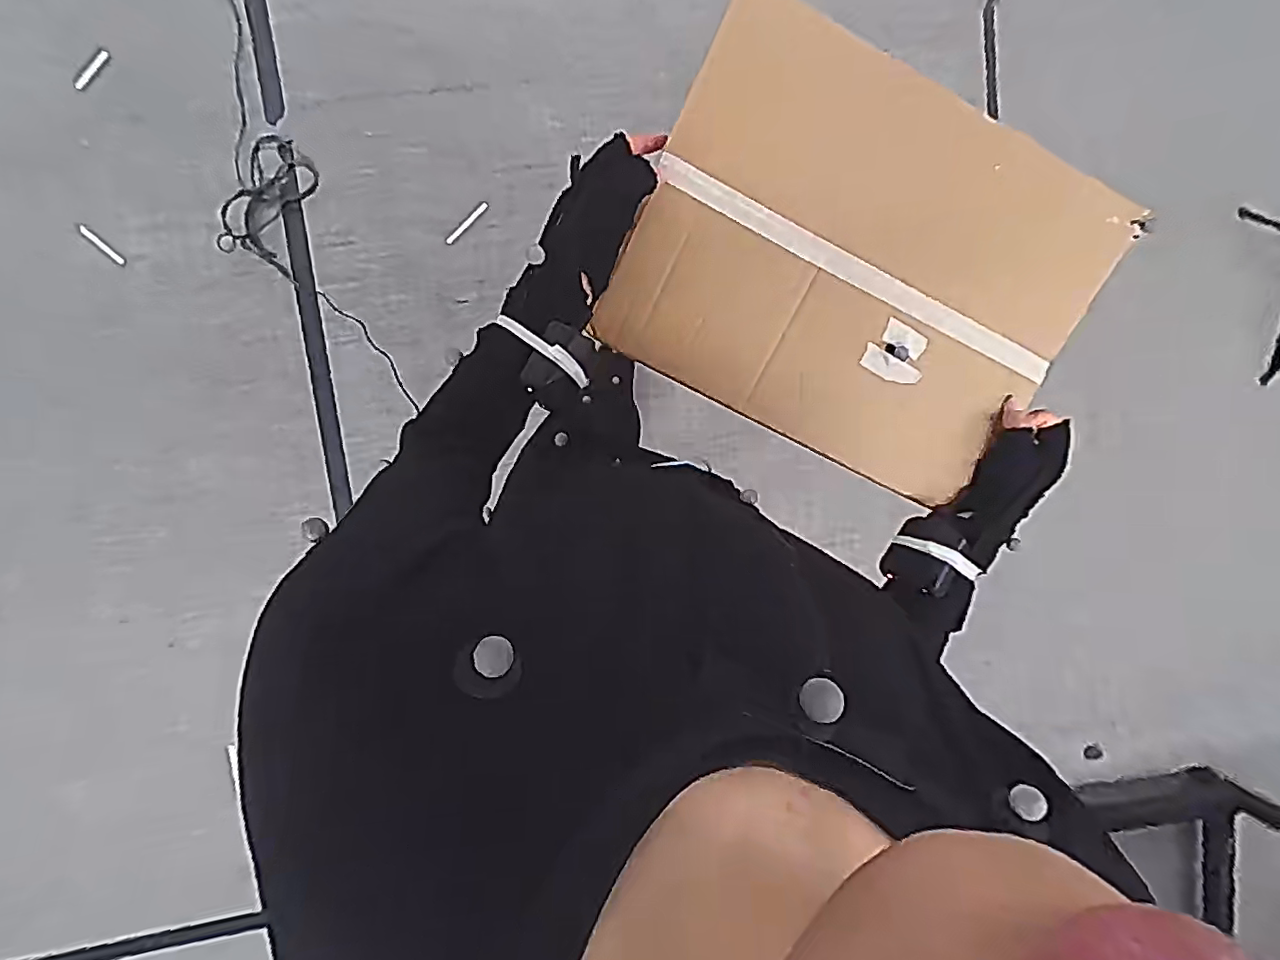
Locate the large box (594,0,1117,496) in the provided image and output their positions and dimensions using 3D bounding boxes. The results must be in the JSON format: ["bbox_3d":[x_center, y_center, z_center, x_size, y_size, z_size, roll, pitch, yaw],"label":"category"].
[{"bbox_3d":[0.192,-0.231,0.646,0.408,0.320,0.320,26,103,-7],"label":"large box"}]
